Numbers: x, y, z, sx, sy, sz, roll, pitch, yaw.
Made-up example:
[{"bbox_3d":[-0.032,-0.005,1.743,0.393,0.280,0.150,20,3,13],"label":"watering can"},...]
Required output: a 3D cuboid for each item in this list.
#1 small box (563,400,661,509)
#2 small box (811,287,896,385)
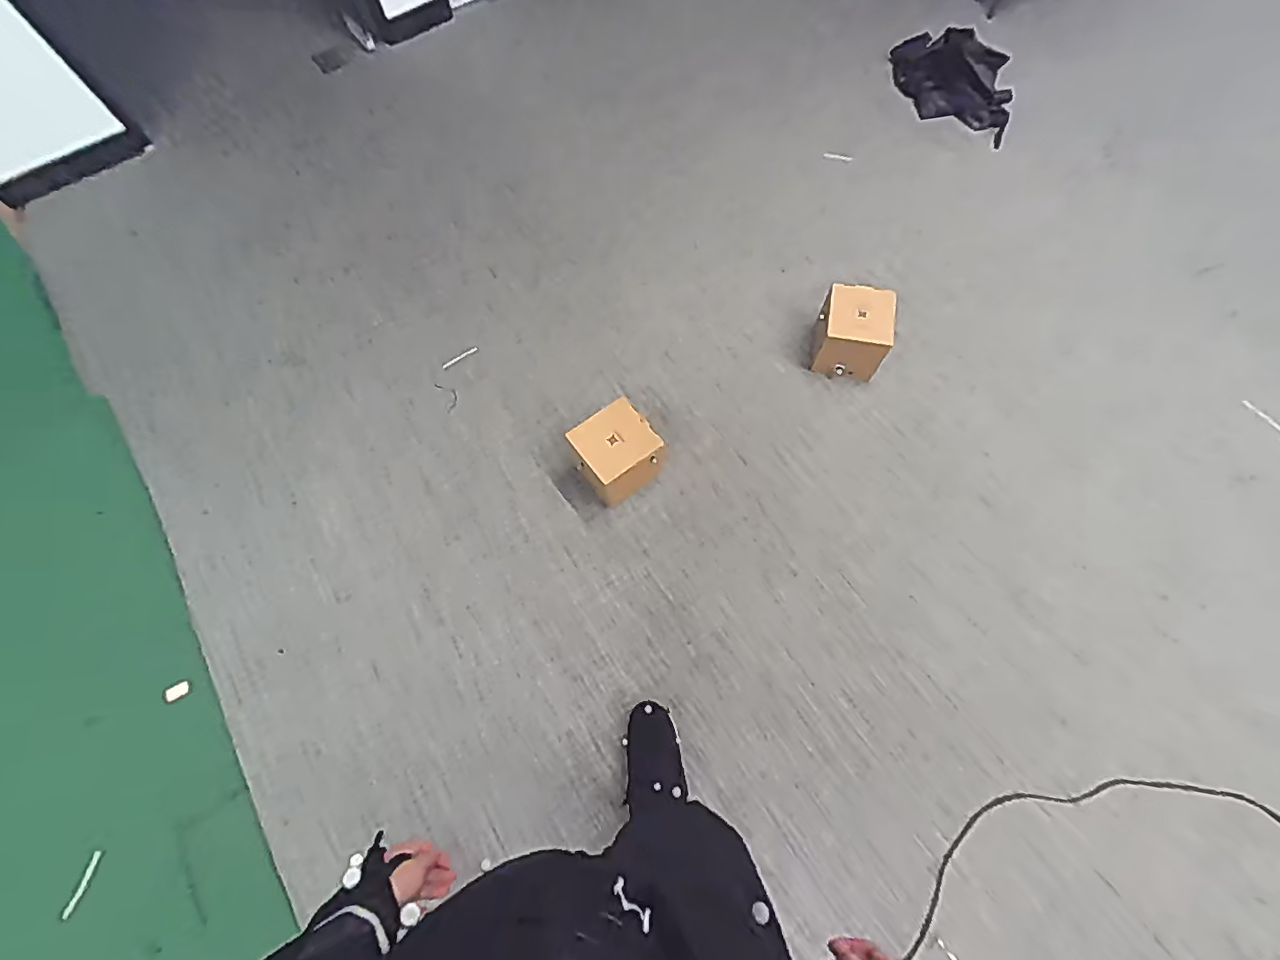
[{"bbox_3d":[-0.061,-0.056,1.325,0.179,0.176,0.168,-36,71,-13],"label":"small box"},{"bbox_3d":[0.565,-0.382,1.446,0.168,0.176,0.179,10,69,7],"label":"small box"}]
